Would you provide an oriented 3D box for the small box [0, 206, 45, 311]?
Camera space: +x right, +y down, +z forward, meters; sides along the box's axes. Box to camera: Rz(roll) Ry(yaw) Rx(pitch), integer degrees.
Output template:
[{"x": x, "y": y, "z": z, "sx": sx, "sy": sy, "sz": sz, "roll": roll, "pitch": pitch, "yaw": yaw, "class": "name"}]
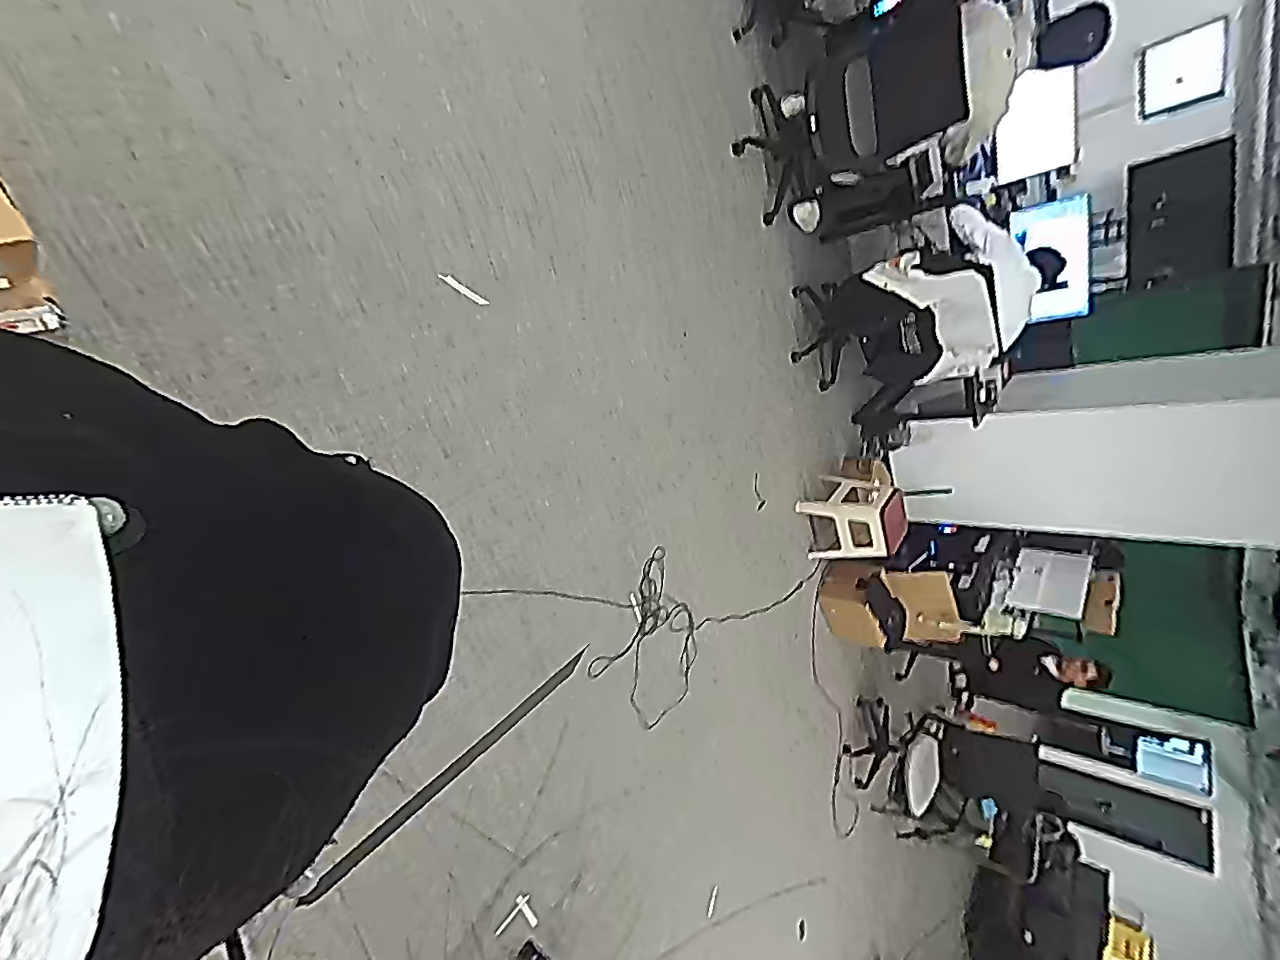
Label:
[{"x": -0.807, "y": -0.266, "z": 0.580, "sx": 0.179, "sy": 0.176, "sz": 0.168, "roll": -37, "pitch": 117, "yaw": -40, "class": "small box"}]
